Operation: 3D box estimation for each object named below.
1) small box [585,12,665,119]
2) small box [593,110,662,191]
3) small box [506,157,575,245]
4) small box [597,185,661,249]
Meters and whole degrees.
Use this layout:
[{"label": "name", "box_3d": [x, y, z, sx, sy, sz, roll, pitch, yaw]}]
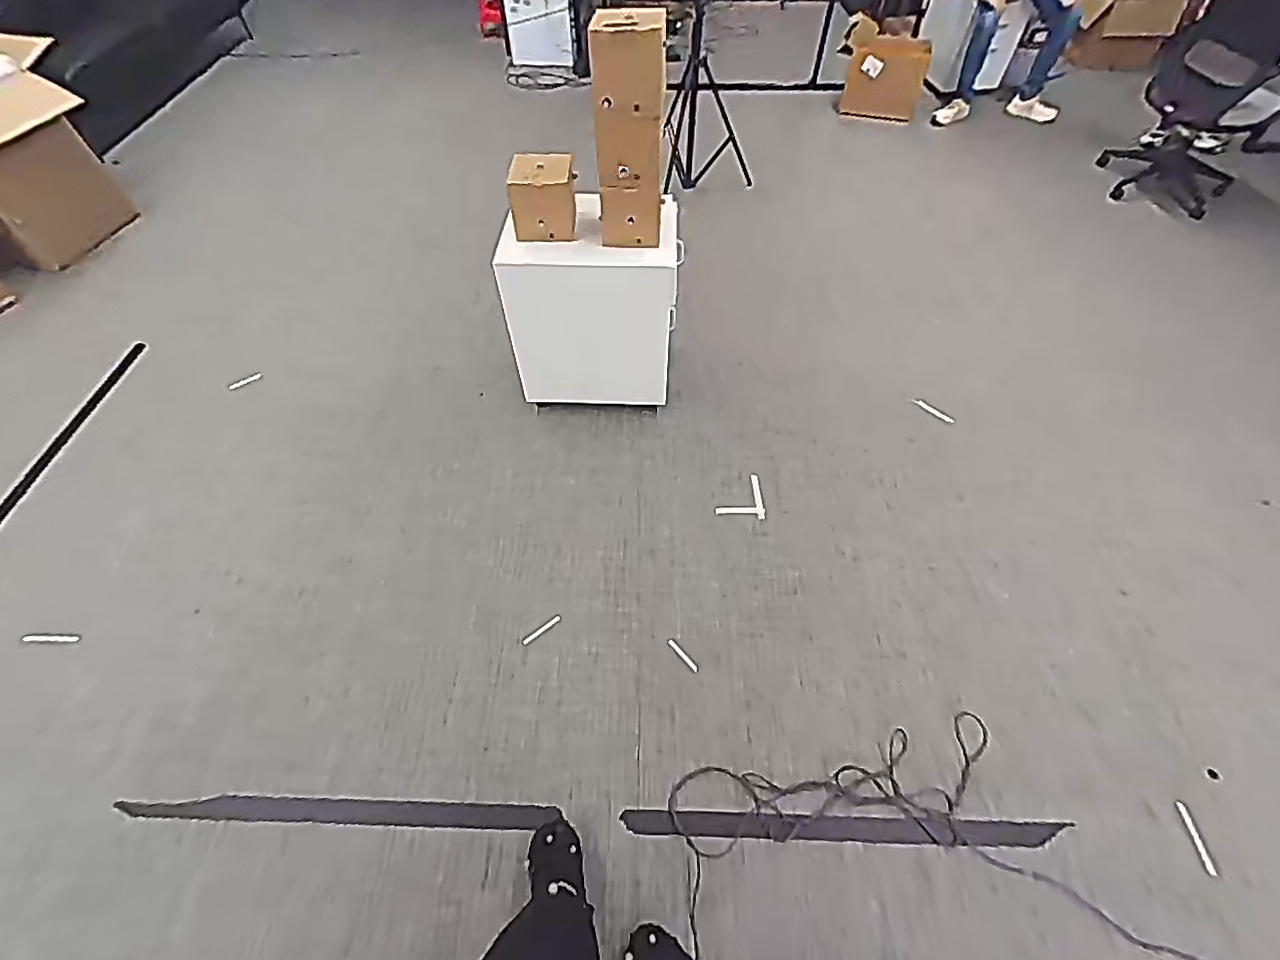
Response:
[{"label": "small box", "box_3d": [-0.028, -0.979, 1.282, 0.168, 0.176, 0.179, 3, 52, 4]}, {"label": "small box", "box_3d": [-0.027, -0.884, 1.417, 0.168, 0.176, 0.179, 1, 54, 3]}, {"label": "small box", "box_3d": [-0.280, -0.804, 1.560, 0.168, 0.176, 0.179, 0, 54, 0]}, {"label": "small box", "box_3d": [-0.026, -0.780, 1.543, 0.168, 0.176, 0.179, 1, 55, 3]}]
